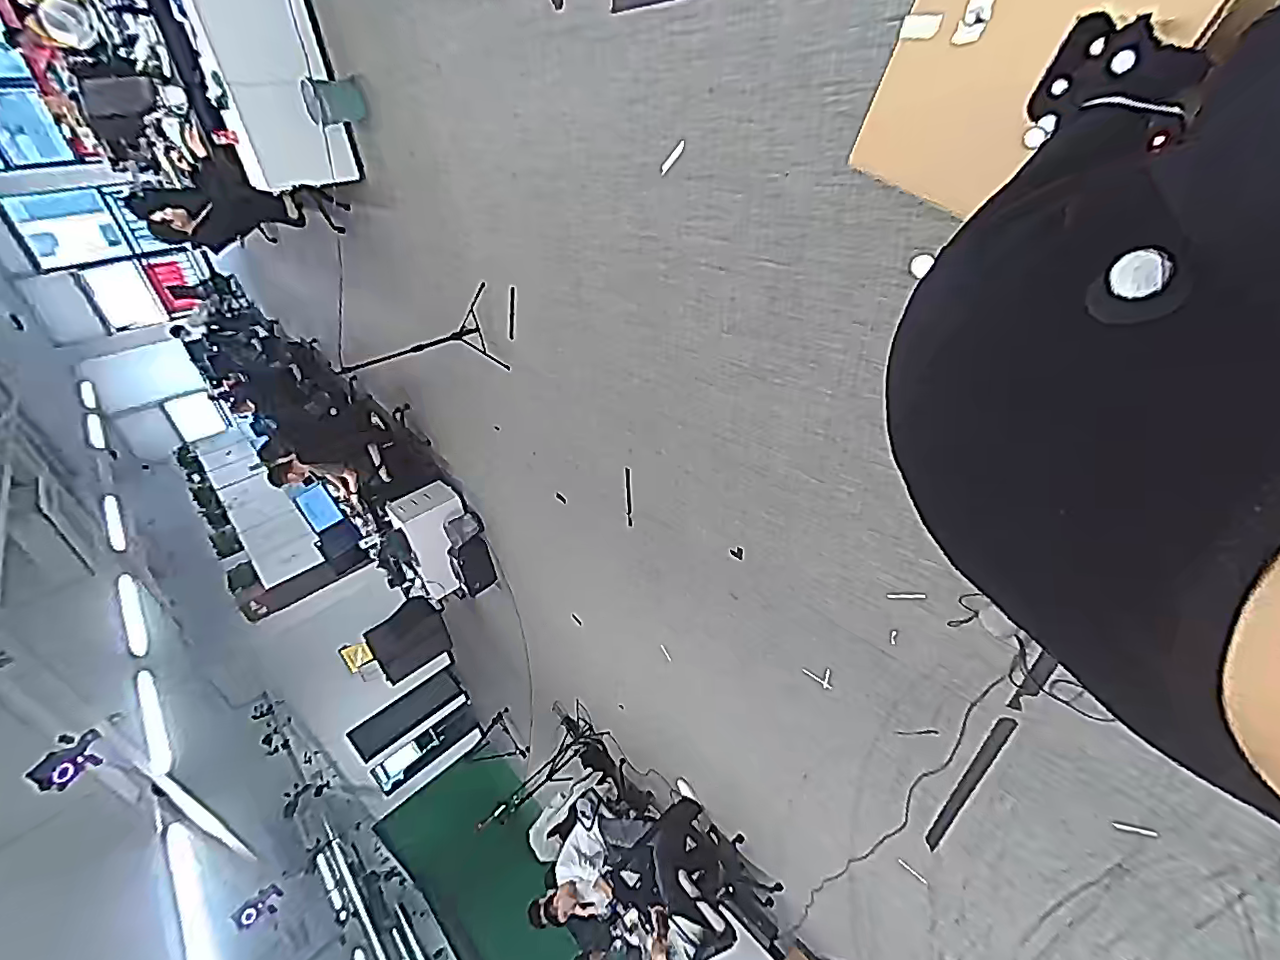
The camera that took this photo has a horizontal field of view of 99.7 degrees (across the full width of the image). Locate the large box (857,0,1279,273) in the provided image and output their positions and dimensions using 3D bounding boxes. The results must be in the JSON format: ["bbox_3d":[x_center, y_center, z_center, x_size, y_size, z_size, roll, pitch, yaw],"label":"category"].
[{"bbox_3d":[0.578,-0.494,0.704,0.320,0.408,0.320,52,143,32],"label":"large box"}]
